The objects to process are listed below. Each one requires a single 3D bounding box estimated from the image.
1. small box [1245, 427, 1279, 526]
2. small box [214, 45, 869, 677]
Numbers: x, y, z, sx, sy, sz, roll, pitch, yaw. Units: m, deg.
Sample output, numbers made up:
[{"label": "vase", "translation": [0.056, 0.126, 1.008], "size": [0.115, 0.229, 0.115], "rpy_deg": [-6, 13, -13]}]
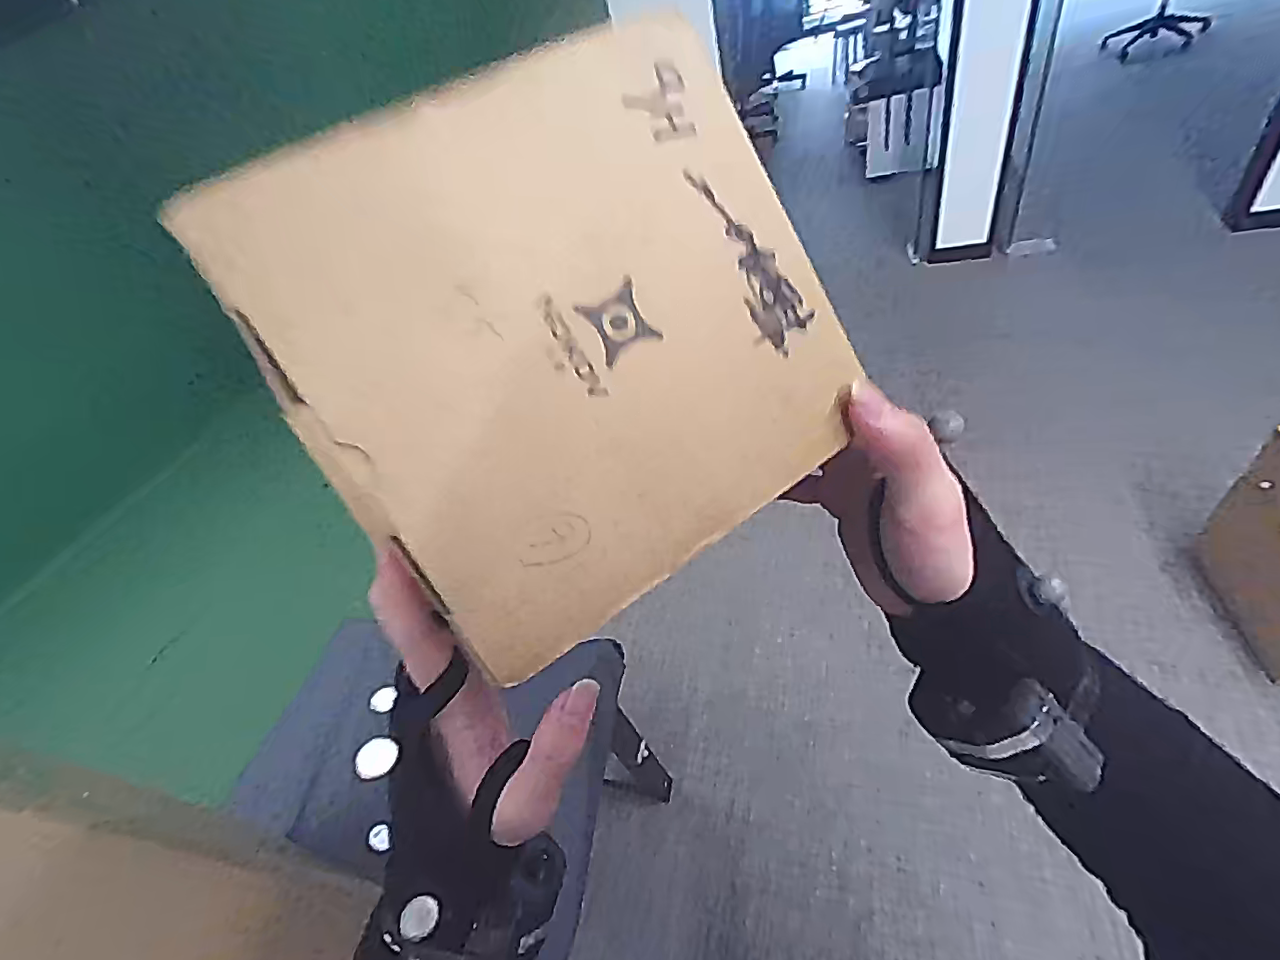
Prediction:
[{"label": "small box", "translation": [1.503, -0.009, 1.176], "size": [0.179, 0.176, 0.168], "rpy_deg": [-6, 44, 21]}, {"label": "small box", "translation": [-0.037, -0.046, 0.265], "size": [0.179, 0.168, 0.176], "rpy_deg": [-32, 10, -13]}]
